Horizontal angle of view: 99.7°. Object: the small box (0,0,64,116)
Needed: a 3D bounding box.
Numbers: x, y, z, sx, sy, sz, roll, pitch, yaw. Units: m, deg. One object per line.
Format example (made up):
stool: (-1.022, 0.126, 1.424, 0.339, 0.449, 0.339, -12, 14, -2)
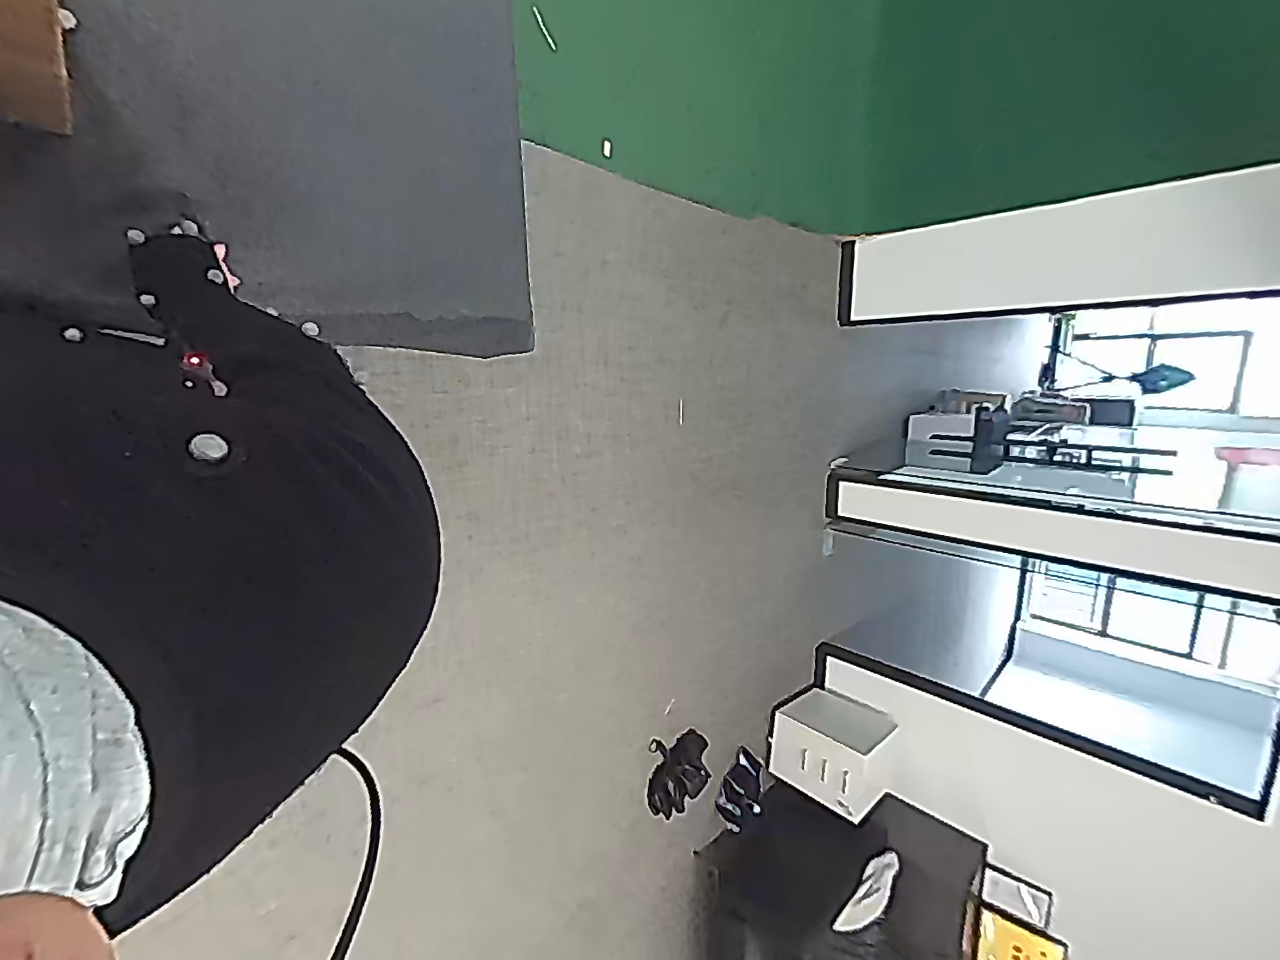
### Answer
small box: (-0.585, -0.425, 0.424, 0.168, 0.176, 0.179, -9, 106, -44)
